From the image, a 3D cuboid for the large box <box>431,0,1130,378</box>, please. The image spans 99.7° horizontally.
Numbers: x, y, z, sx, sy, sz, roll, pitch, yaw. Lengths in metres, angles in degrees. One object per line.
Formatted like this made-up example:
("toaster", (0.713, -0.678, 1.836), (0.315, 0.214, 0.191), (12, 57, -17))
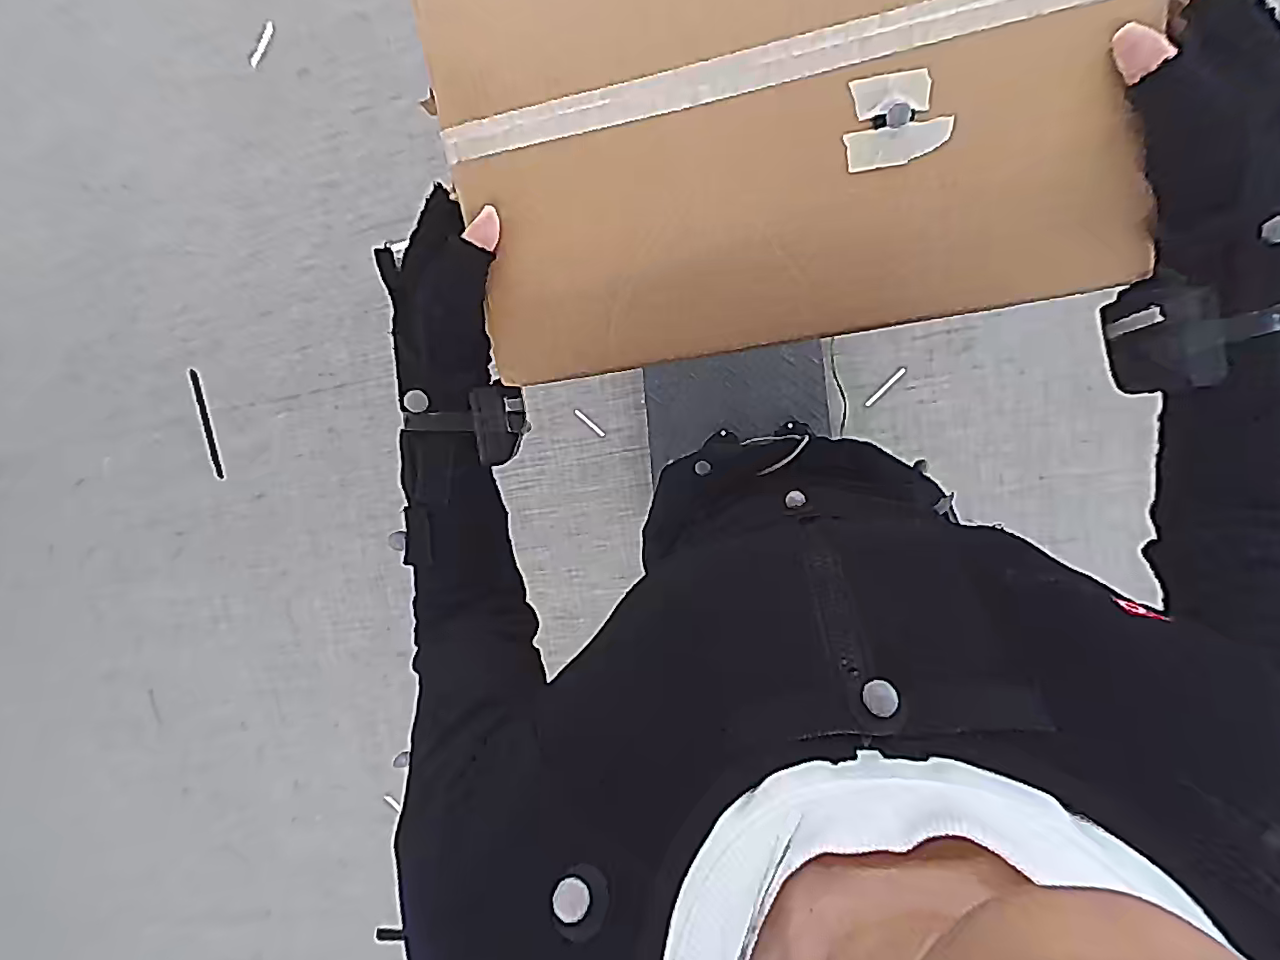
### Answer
("large box", (0.093, -0.284, 0.474), (0.408, 0.320, 0.320), (-8, 103, 9))
